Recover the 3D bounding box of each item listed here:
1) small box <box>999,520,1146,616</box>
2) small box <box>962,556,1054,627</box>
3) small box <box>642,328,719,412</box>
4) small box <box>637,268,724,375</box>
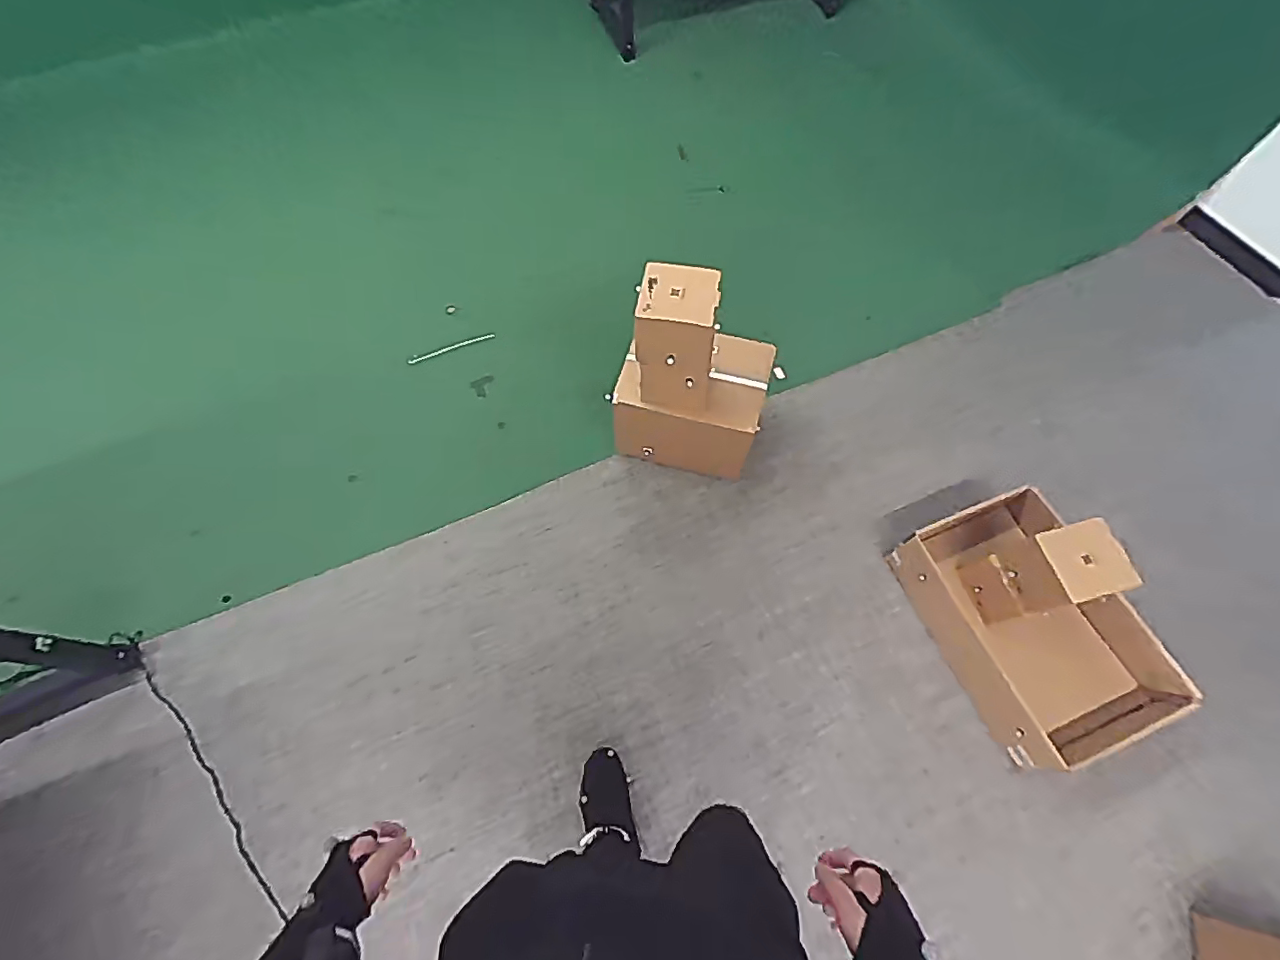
[{"bbox_3d":[1.010,0.213,1.281,0.179,0.176,0.168,-14,67,-5],"label":"small box"},{"bbox_3d":[1.007,0.278,1.430,0.179,0.176,0.168,-18,68,-6],"label":"small box"},{"bbox_3d":[0.105,-0.299,1.433,0.179,0.176,0.168,9,65,5],"label":"small box"},{"bbox_3d":[0.092,-0.371,1.286,0.179,0.176,0.168,10,65,4],"label":"small box"}]
